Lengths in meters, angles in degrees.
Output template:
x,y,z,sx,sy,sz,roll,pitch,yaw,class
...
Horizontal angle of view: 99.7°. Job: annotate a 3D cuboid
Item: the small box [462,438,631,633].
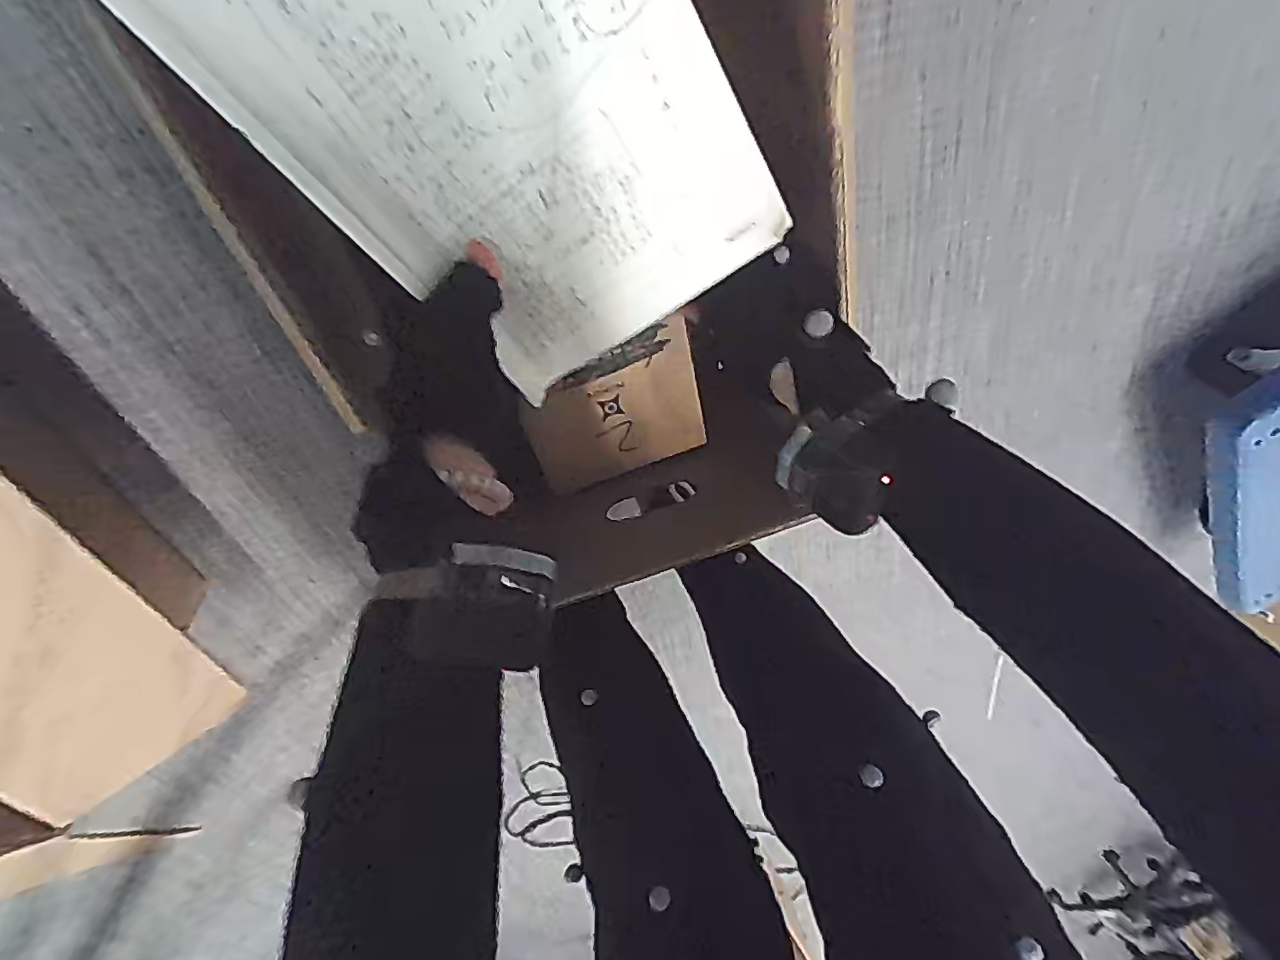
x,y,z,sx,sy,sz,roll,pitch,yaw,class
-0.118,0.071,0.703,0.179,0.176,0.168,13,126,0,small box
